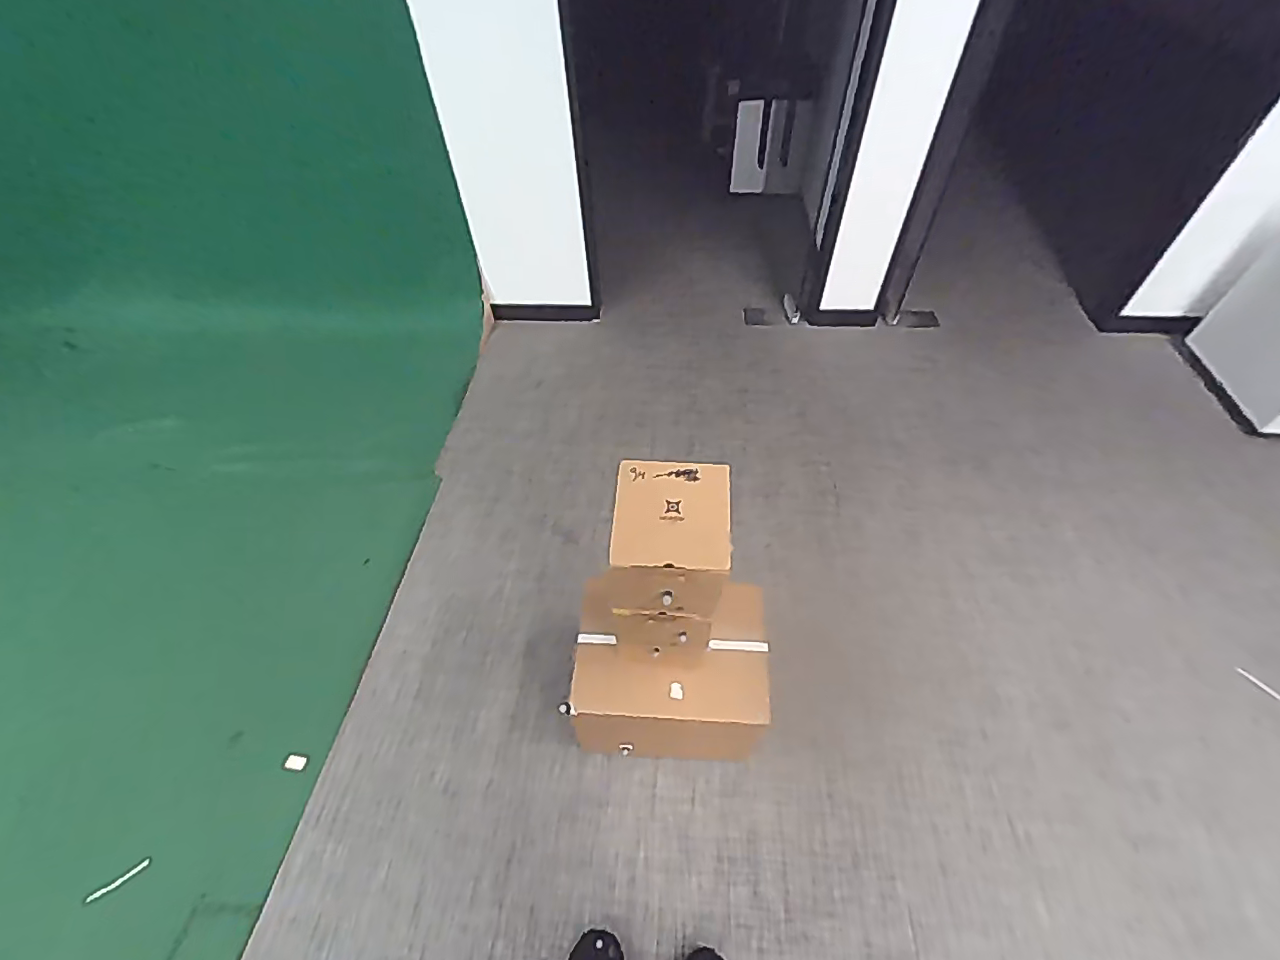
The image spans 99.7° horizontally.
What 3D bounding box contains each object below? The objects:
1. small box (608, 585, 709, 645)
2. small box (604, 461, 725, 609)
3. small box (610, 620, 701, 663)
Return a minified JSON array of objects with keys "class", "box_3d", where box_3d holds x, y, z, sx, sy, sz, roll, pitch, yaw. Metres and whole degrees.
[{"class":"small box","box_3d":[0.038,0.186,0.973,0.168,0.176,0.179,3,56,3]},{"class":"small box","box_3d":[0.041,0.090,0.840,0.168,0.176,0.179,3,58,3]},{"class":"small box","box_3d":[0.045,0.264,1.112,0.179,0.176,0.168,8,55,8]}]
